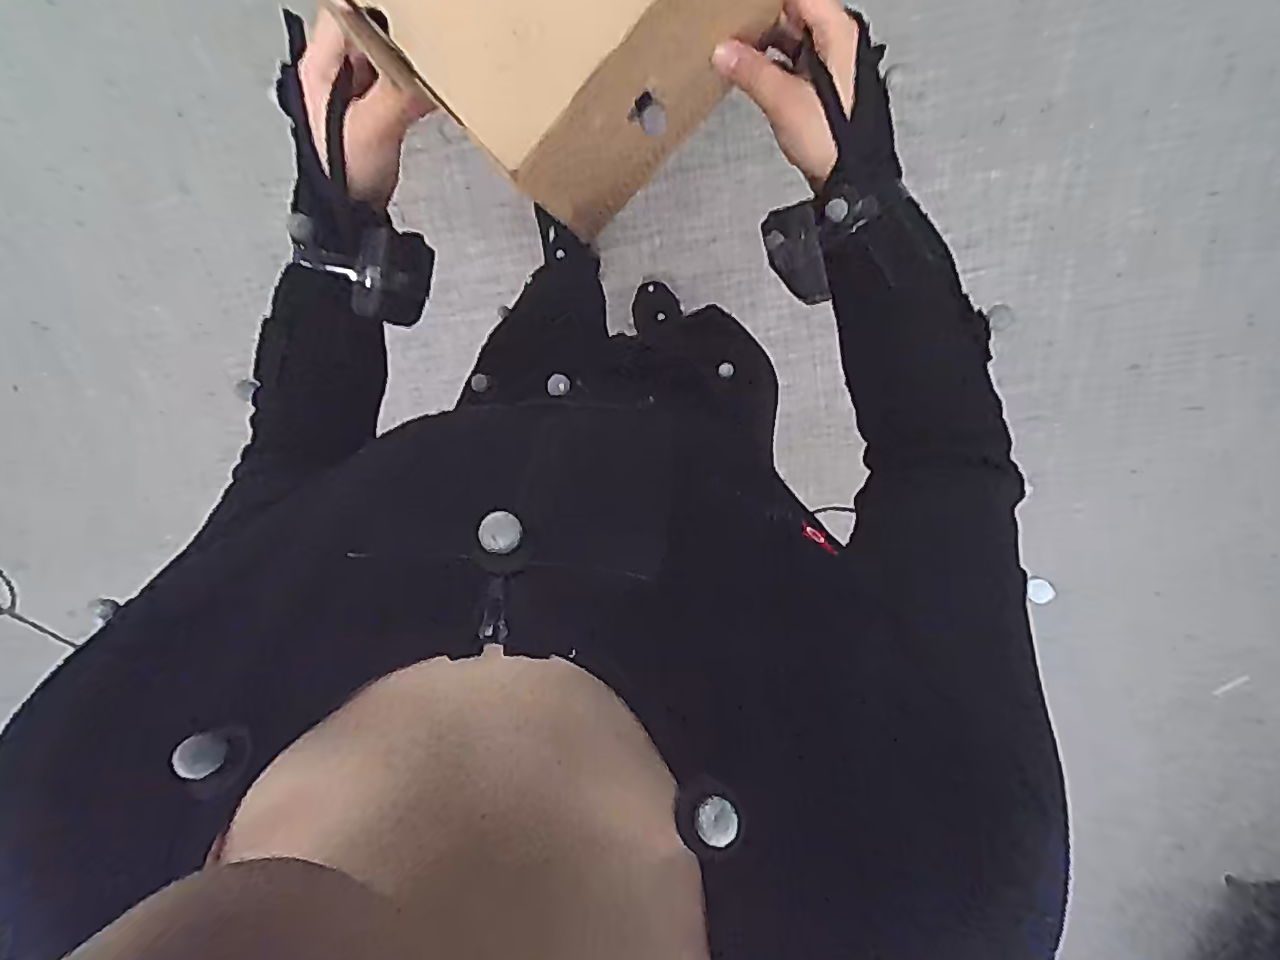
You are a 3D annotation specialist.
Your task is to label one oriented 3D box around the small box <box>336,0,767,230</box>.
[{"bbox_3d":[-0.041,-0.267,0.290,0.179,0.176,0.168,-42,96,15],"label":"small box"}]
